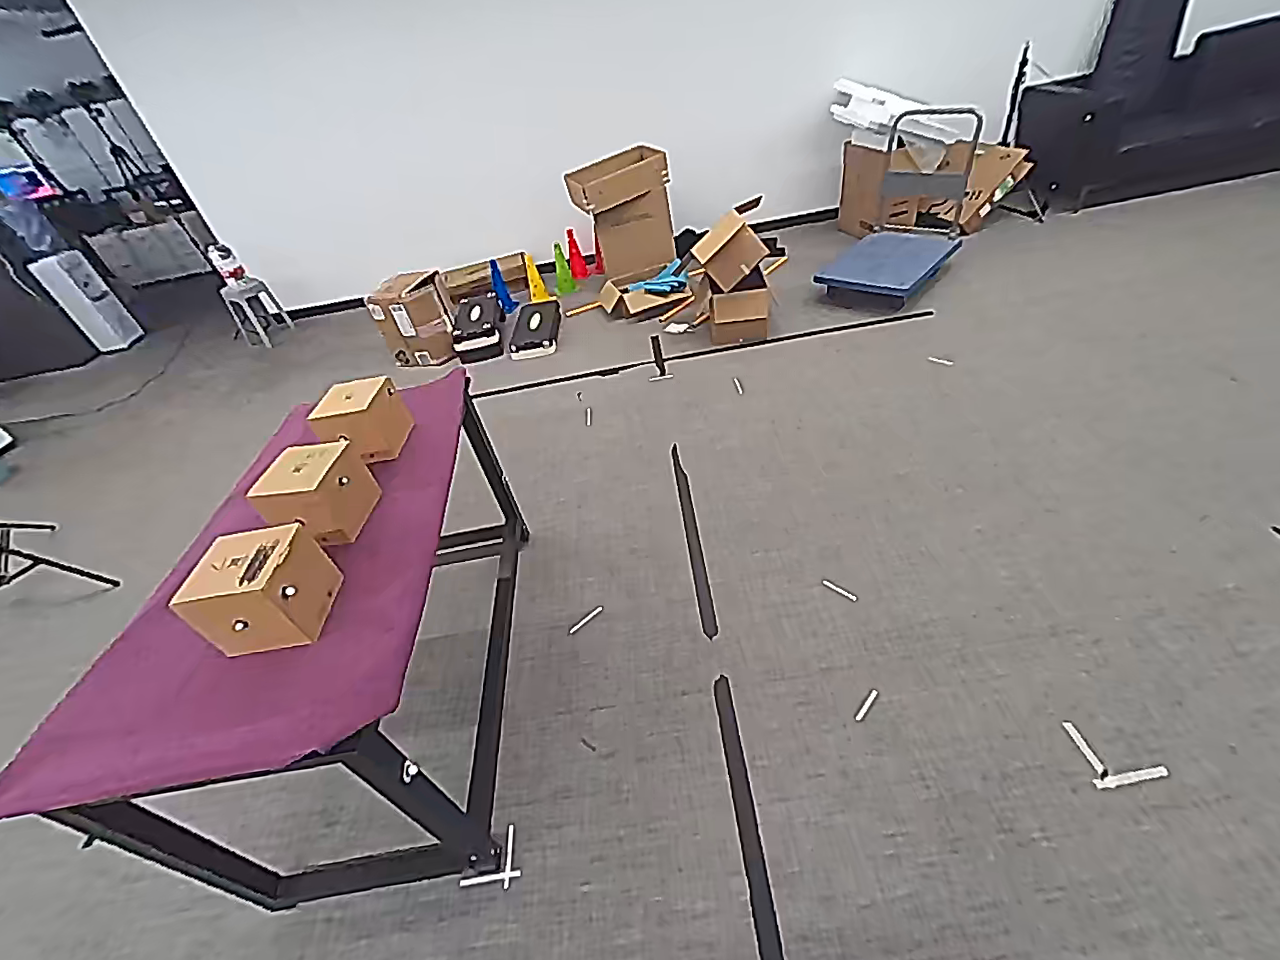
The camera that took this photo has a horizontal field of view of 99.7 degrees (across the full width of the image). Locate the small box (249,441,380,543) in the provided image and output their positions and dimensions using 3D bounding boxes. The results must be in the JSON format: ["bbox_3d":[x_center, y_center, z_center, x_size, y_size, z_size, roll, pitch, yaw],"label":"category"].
[{"bbox_3d":[-0.739,0.034,1.256,0.168,0.176,0.179,-5,40,7],"label":"small box"}]

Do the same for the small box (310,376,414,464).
[{"bbox_3d":[-0.752,-0.158,1.486,0.168,0.176,0.179,-9,40,5],"label":"small box"}]
